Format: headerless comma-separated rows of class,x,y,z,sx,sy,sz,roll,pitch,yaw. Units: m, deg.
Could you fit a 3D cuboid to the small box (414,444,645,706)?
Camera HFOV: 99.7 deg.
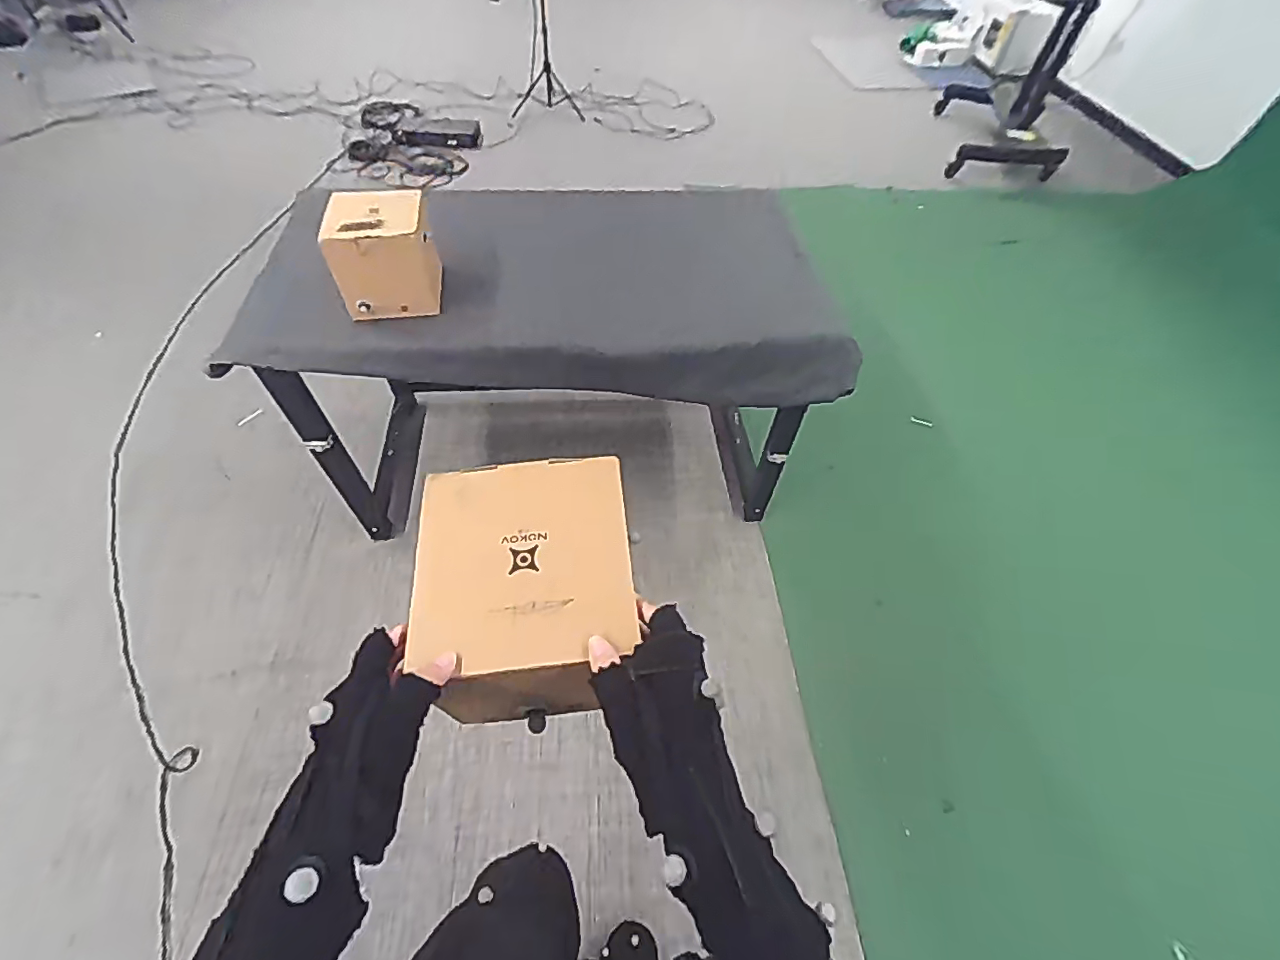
small box,-0.089,0.091,0.495,0.168,0.176,0.179,-6,58,-4

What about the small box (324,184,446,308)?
small box,-0.483,-0.450,1.055,0.168,0.176,0.179,-6,53,-8
